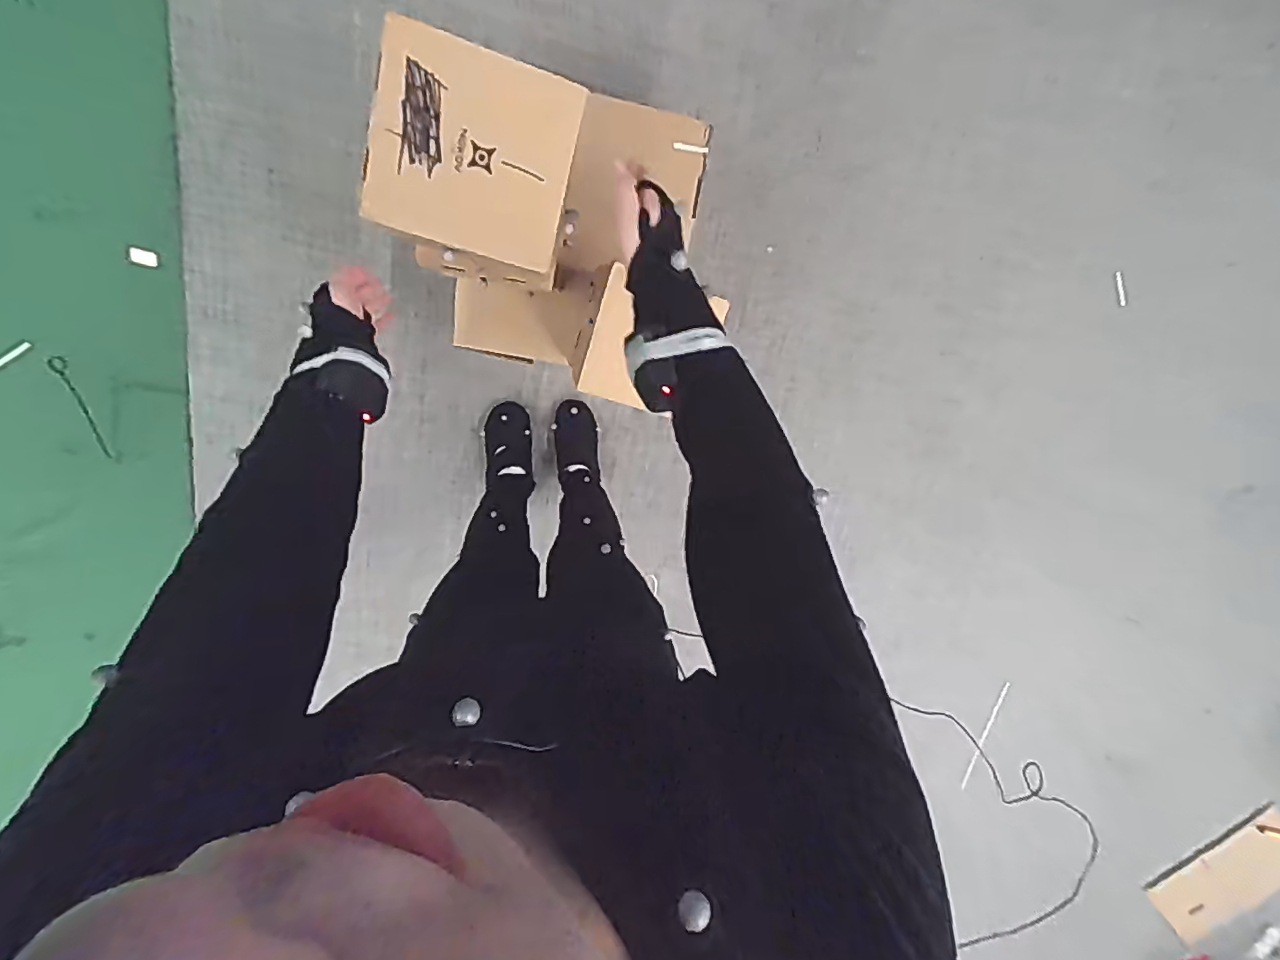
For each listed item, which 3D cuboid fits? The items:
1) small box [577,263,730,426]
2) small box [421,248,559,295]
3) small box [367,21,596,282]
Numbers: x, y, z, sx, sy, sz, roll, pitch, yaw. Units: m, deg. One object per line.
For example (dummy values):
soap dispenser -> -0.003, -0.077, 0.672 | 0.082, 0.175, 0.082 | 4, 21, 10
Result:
small box -> 0.007, -0.201, 0.799 | 0.168, 0.176, 0.179 | 16, 105, -13
small box -> -0.183, -0.354, 0.723 | 0.168, 0.176, 0.179 | 8, 106, -11
small box -> -0.156, -0.314, 0.564 | 0.179, 0.176, 0.168 | 13, 105, -13
